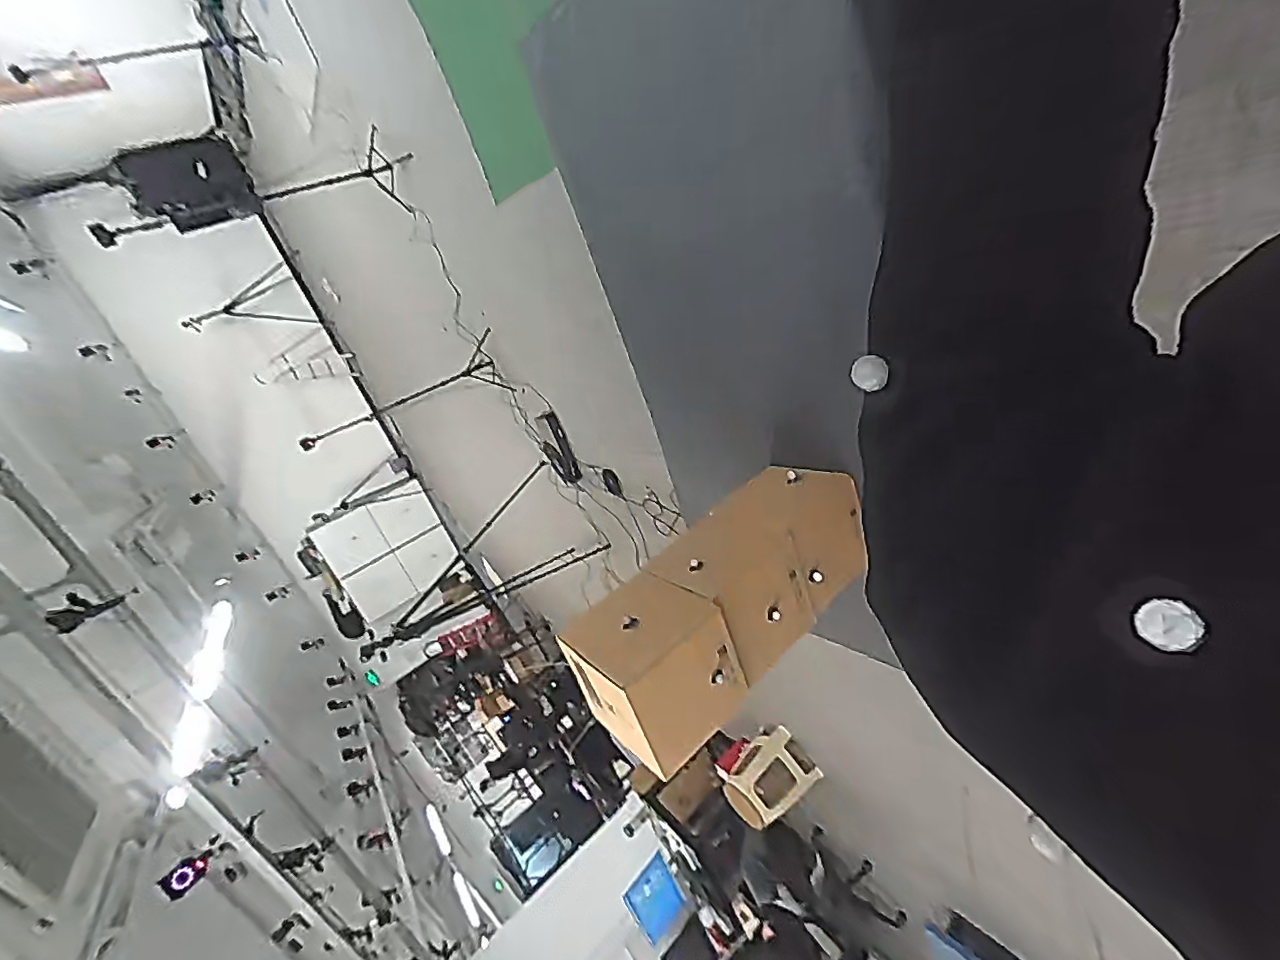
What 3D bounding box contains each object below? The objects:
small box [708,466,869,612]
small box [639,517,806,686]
[{"bbox_3d":[0.251,0.087,0.914,0.179,0.176,0.168,9,127,56],"label":"small box"},{"bbox_3d":[0.134,0.173,0.835,0.179,0.176,0.168,10,127,55],"label":"small box"}]
